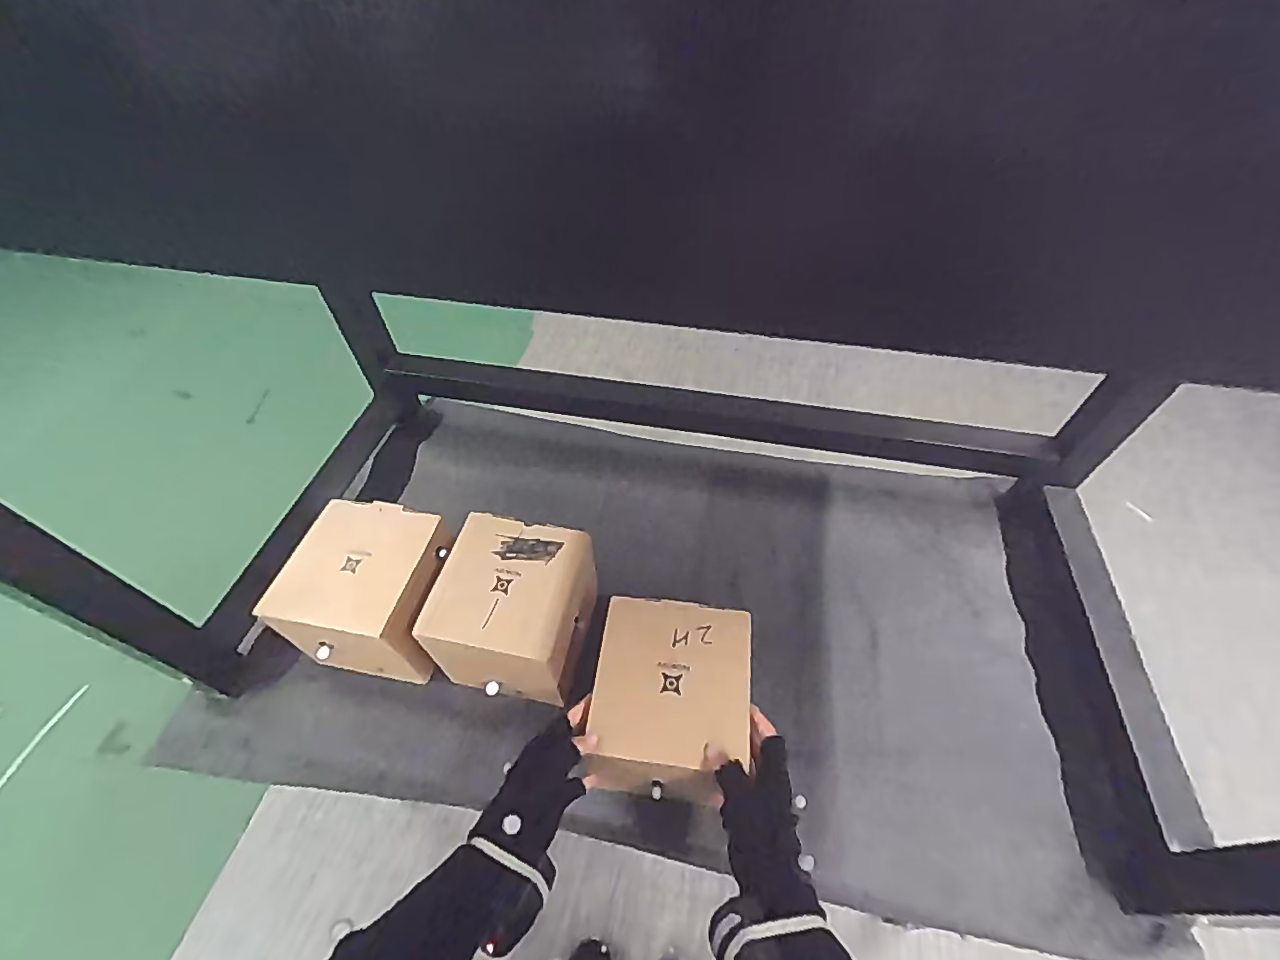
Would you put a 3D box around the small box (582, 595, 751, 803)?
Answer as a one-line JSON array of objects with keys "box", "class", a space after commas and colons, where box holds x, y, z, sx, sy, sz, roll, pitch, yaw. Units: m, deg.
[{"box": [0.036, 0.260, 0.636, 0.168, 0.176, 0.179, 6, 50, 5], "class": "small box"}]

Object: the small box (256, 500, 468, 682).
[{"box": [-0.354, 0.154, 0.735, 0.168, 0.176, 0.179, 8, 51, 7], "class": "small box"}]
